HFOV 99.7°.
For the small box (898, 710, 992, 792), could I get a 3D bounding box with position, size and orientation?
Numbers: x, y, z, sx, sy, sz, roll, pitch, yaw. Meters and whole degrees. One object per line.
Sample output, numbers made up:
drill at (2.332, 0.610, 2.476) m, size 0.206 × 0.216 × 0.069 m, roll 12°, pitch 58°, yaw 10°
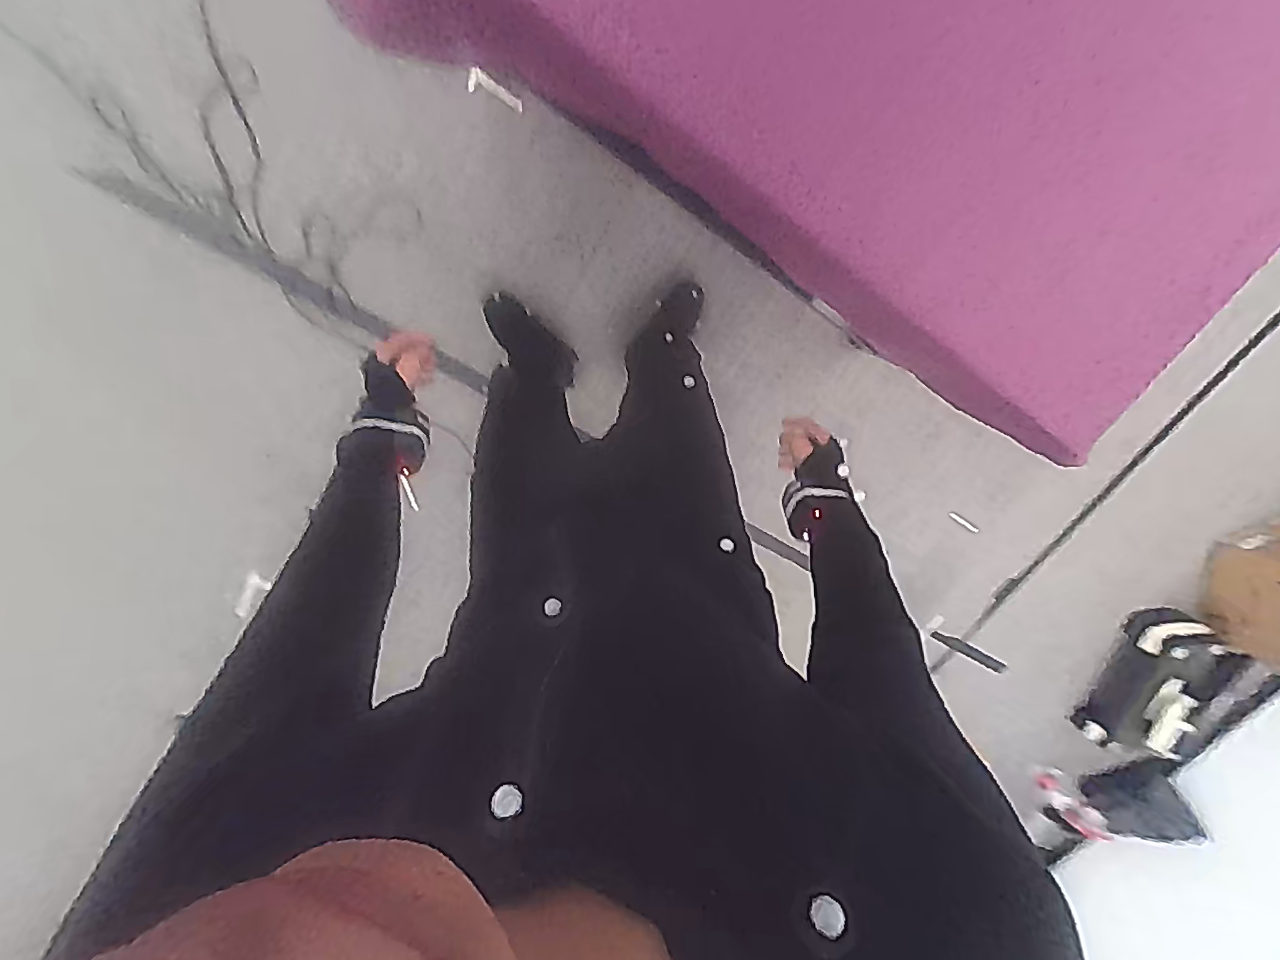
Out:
small box at (1.022, 0.910, 1.823) m, size 0.179 × 0.176 × 0.168 m, roll 28°, pitch 109°, yaw -21°
